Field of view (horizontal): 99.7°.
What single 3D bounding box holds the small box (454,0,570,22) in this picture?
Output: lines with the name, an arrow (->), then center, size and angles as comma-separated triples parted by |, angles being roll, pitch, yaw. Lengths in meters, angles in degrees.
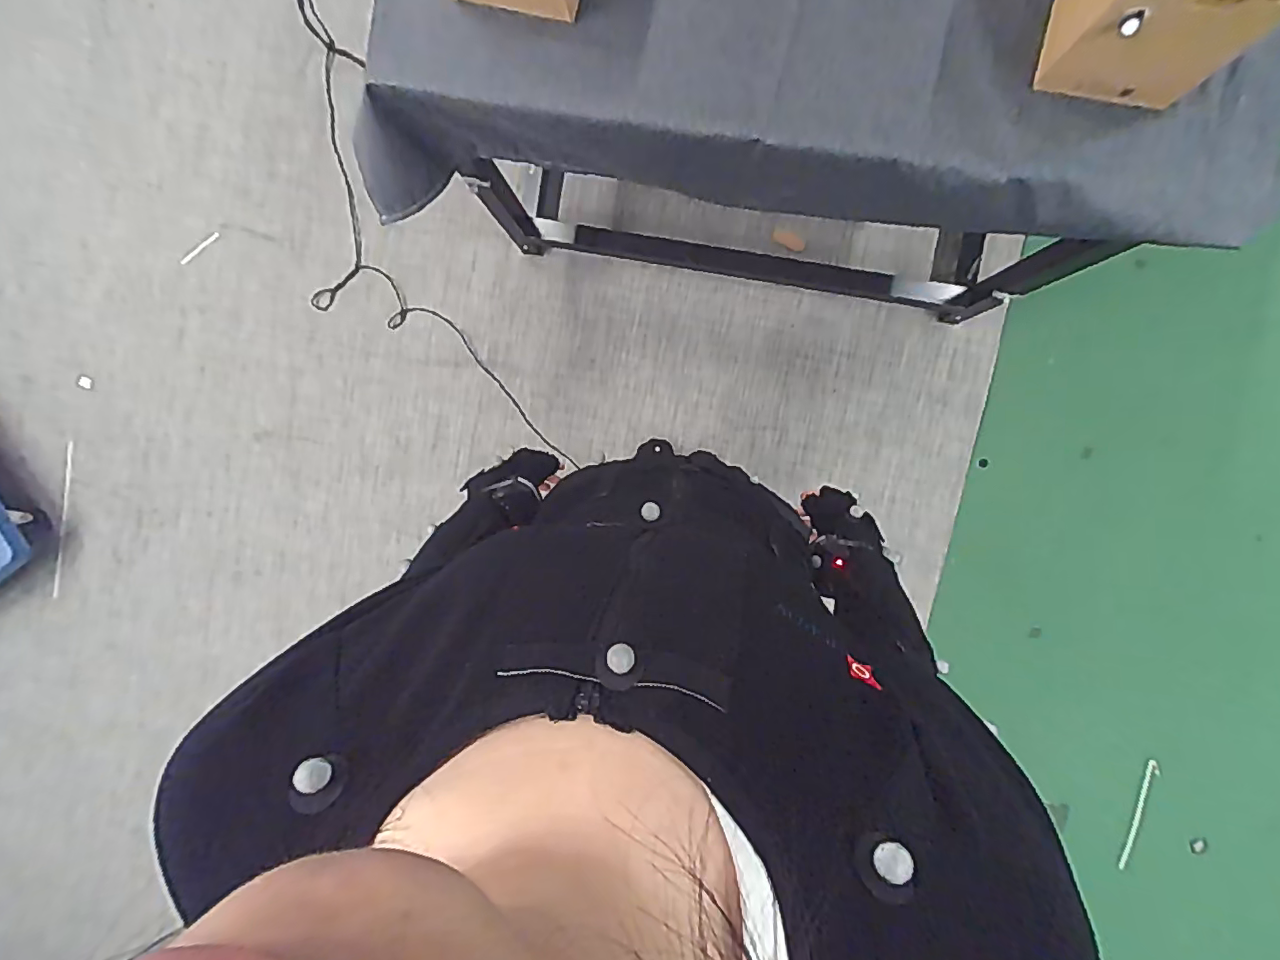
small box -> -0.164, -0.707, 0.650 | 0.179, 0.176, 0.168 | 13, 94, 3
